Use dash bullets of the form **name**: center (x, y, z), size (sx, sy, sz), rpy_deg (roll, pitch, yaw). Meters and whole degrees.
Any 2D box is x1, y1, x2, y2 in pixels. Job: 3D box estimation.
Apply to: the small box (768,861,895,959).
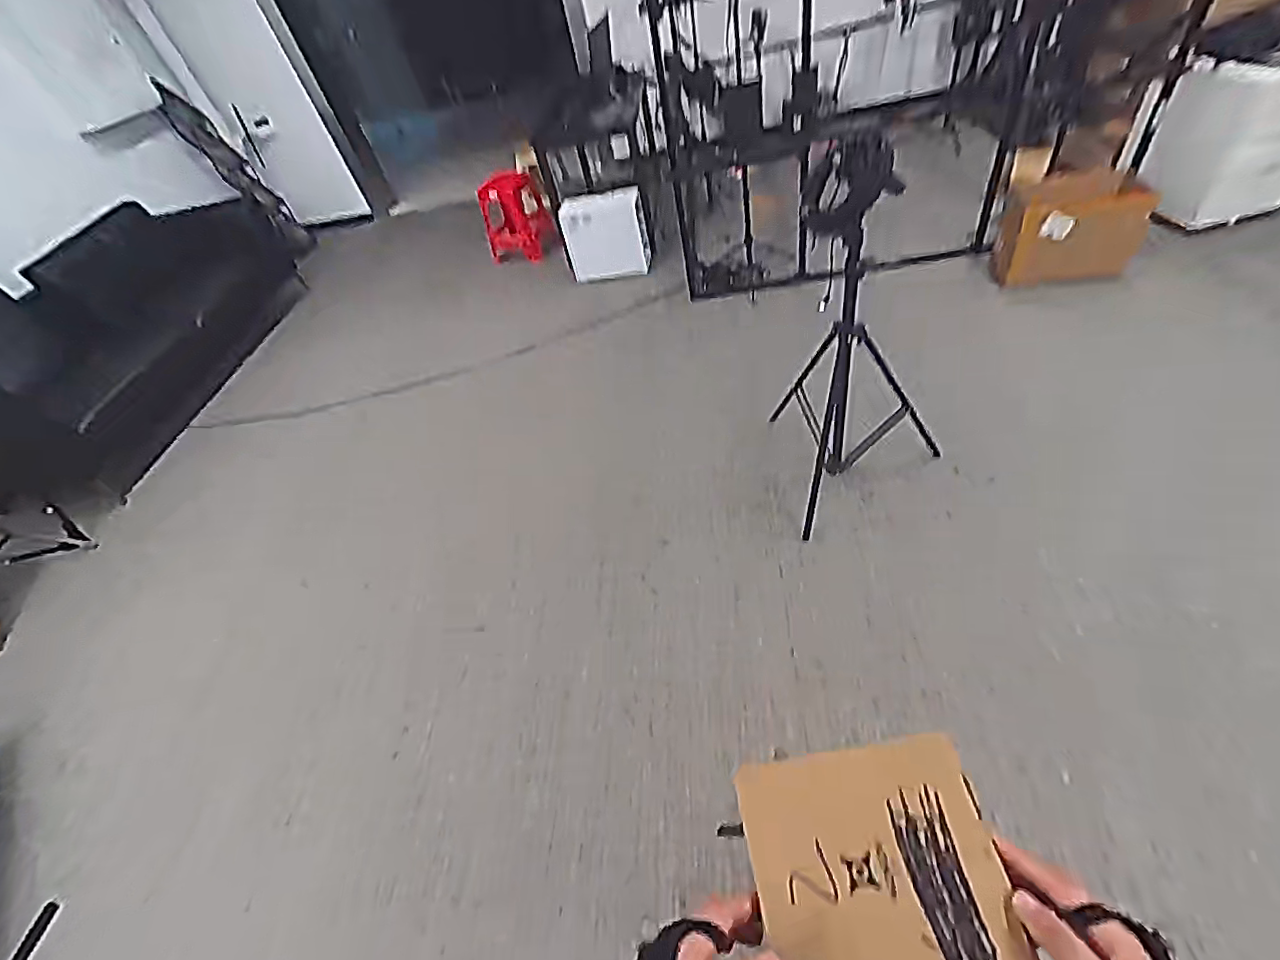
- **small box**: center (0.327, 0.780, 0.942), size (0.179, 0.176, 0.168), rpy_deg (-11, 46, 7)
